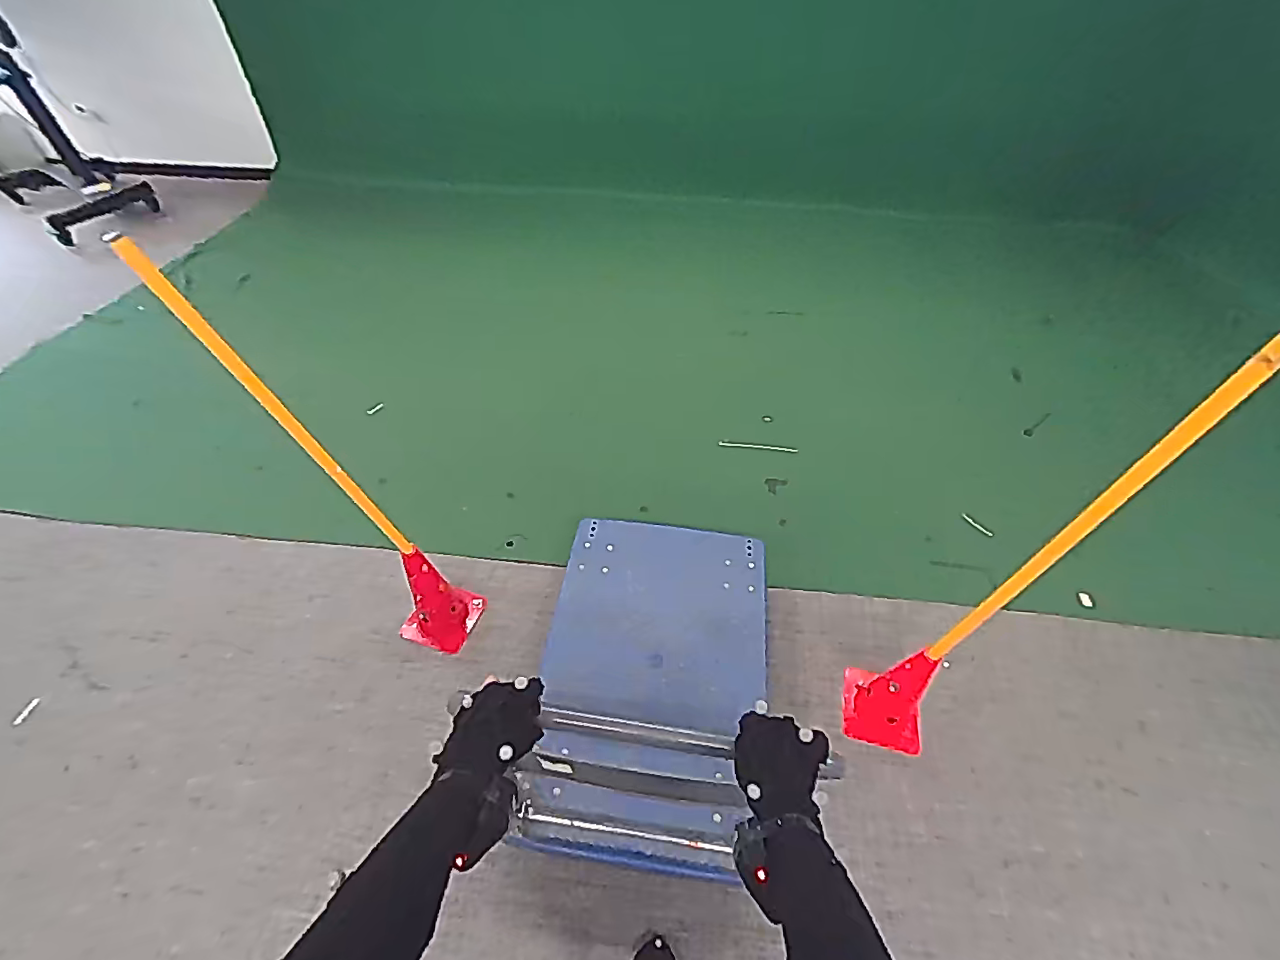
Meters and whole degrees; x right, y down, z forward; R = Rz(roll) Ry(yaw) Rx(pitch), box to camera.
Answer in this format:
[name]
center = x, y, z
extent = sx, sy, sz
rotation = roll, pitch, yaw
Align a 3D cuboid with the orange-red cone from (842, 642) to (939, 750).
[orange-red cone]
center = 0.662, 0.505, 1.359
extent = 0.198, 0.360, 0.199
rotation = 13, 50, 11
